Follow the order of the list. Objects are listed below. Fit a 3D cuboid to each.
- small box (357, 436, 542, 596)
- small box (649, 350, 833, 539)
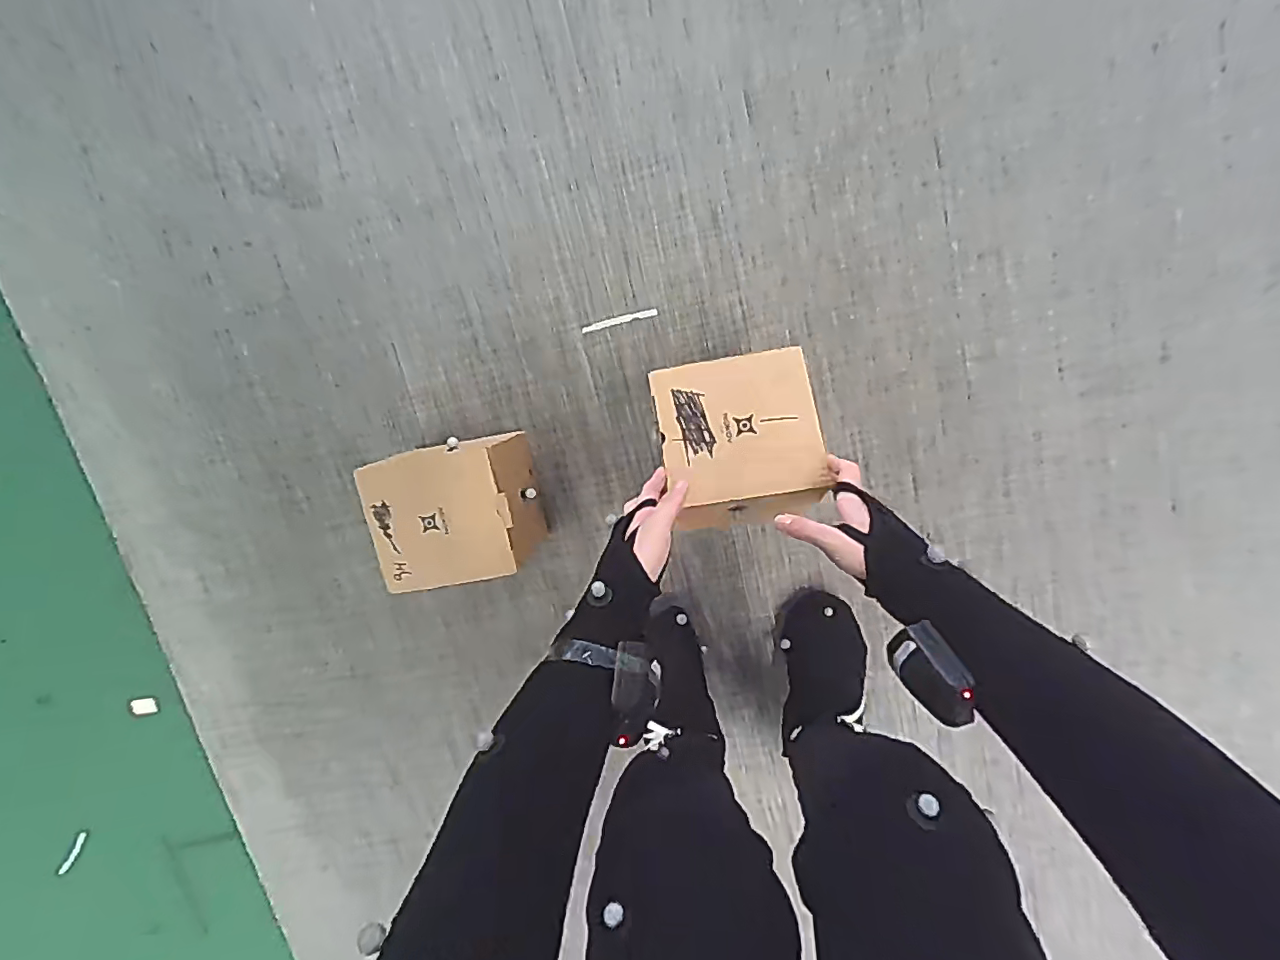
[{"bbox_3d":[-0.243,0.039,0.743,0.179,0.176,0.168,-10,100,5],"label":"small box"},{"bbox_3d":[0.114,-0.032,0.659,0.179,0.176,0.168,-9,71,3],"label":"small box"}]
